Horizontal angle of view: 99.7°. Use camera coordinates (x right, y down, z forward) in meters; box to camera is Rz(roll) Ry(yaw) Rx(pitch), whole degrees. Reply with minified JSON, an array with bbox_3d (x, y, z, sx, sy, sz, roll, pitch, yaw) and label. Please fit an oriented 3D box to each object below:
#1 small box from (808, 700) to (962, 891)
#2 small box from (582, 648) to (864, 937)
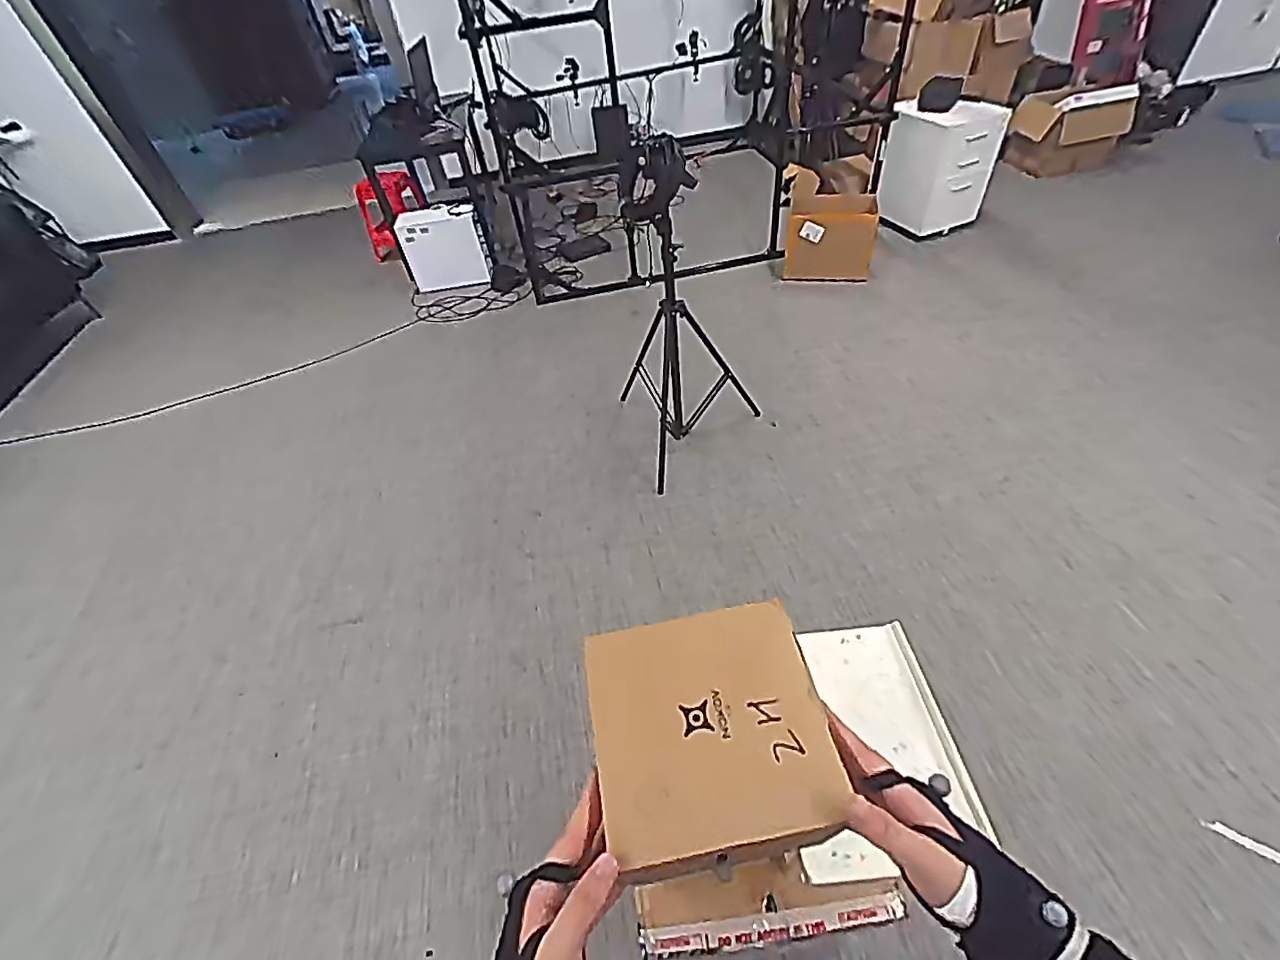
[{"bbox_3d":[0.254,0.399,0.677,0.168,0.176,0.179,-5,48,-1],"label":"small box"},{"bbox_3d":[0.056,0.265,0.455,0.179,0.176,0.168,-10,51,-2],"label":"small box"}]
